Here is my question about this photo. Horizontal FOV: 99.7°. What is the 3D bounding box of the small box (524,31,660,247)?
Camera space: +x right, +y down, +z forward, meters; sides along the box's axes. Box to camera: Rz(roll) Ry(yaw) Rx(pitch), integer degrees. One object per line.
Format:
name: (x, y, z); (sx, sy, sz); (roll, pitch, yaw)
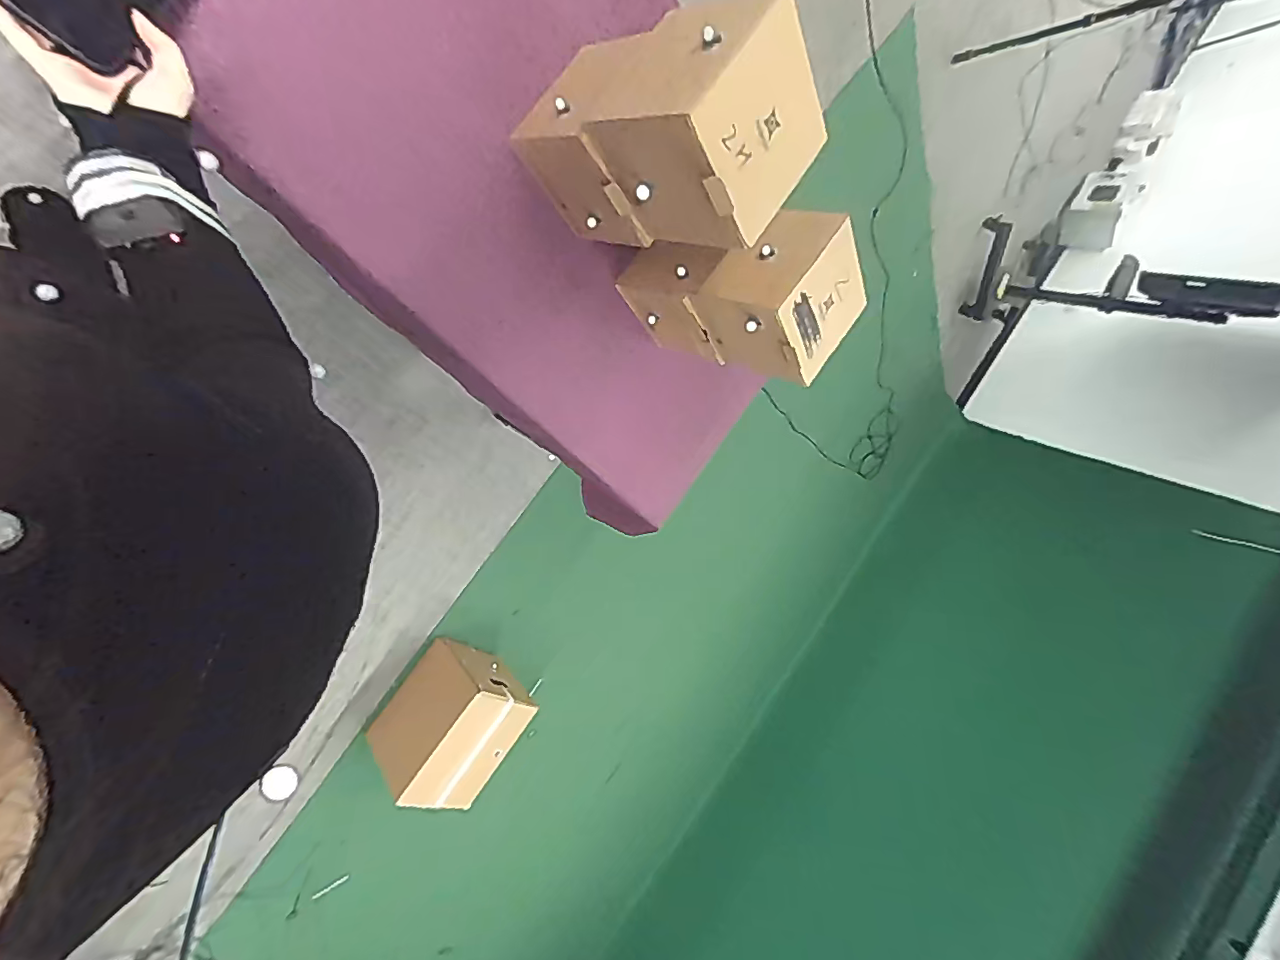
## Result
small box: (-0.029, -0.445, 0.725); (0.179, 0.176, 0.168); (-55, 139, -7)

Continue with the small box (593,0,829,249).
small box: (0.080, -0.395, 0.610); (0.179, 0.176, 0.168); (-55, 139, -6)

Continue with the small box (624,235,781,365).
small box: (0.105, -0.332, 0.923); (0.179, 0.176, 0.168); (-54, 139, -6)
